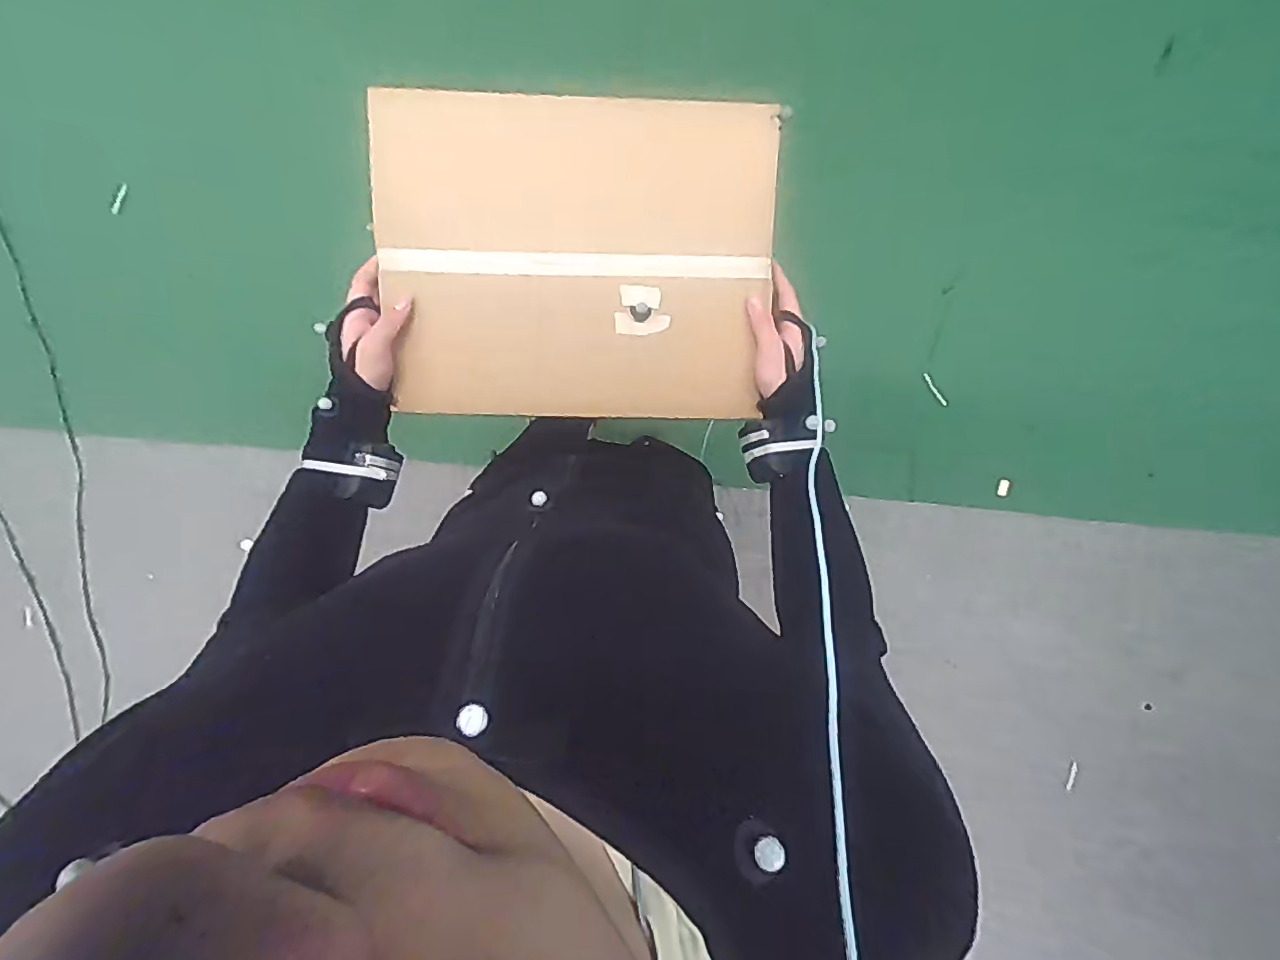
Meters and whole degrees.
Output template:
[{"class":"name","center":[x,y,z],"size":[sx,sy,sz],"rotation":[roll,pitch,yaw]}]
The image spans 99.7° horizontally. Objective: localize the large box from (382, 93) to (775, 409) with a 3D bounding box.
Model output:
[{"class":"large box","center":[-0.070,-0.257,0.715],"size":[0.408,0.320,0.320],"rotation":[1,100,-3]}]
